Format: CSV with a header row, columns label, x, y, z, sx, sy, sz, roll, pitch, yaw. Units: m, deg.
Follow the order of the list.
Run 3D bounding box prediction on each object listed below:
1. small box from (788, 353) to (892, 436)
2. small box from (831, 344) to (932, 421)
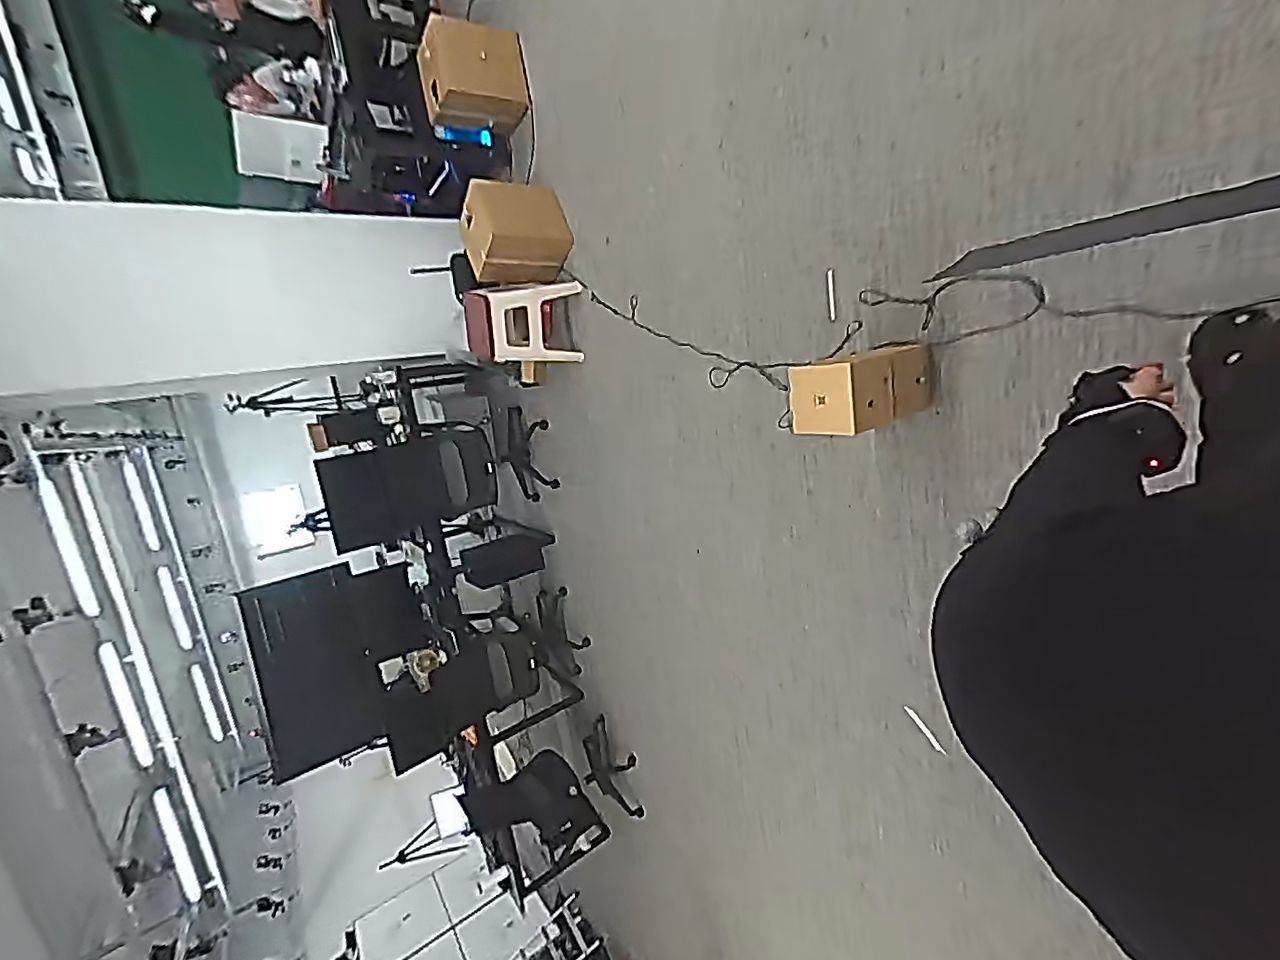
label,x,y,z,sx,sy,sz,roll,pitch,yaw
small box,0.487,-0.205,1.300,0.179,0.176,0.168,10,113,55
small box,0.618,-0.250,1.386,0.179,0.176,0.168,9,113,54
